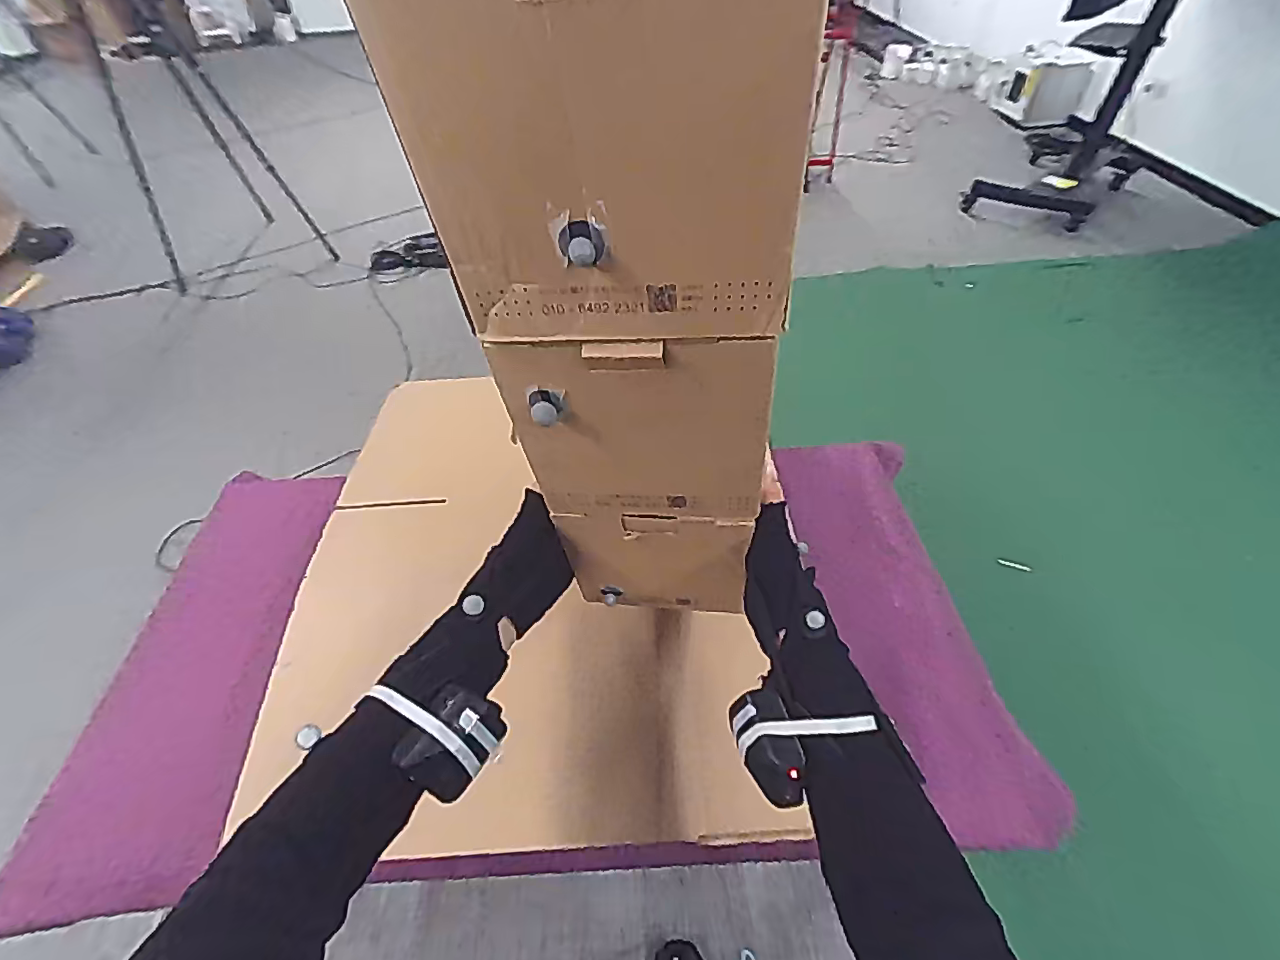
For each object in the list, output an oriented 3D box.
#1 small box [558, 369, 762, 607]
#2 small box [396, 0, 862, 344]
[{"bbox_3d":[0.030,0.014,0.531,0.168,0.176,0.179,0,54,7],"label":"small box"},{"bbox_3d":[0.003,-0.191,0.276,0.168,0.176,0.179,1,52,7],"label":"small box"}]
